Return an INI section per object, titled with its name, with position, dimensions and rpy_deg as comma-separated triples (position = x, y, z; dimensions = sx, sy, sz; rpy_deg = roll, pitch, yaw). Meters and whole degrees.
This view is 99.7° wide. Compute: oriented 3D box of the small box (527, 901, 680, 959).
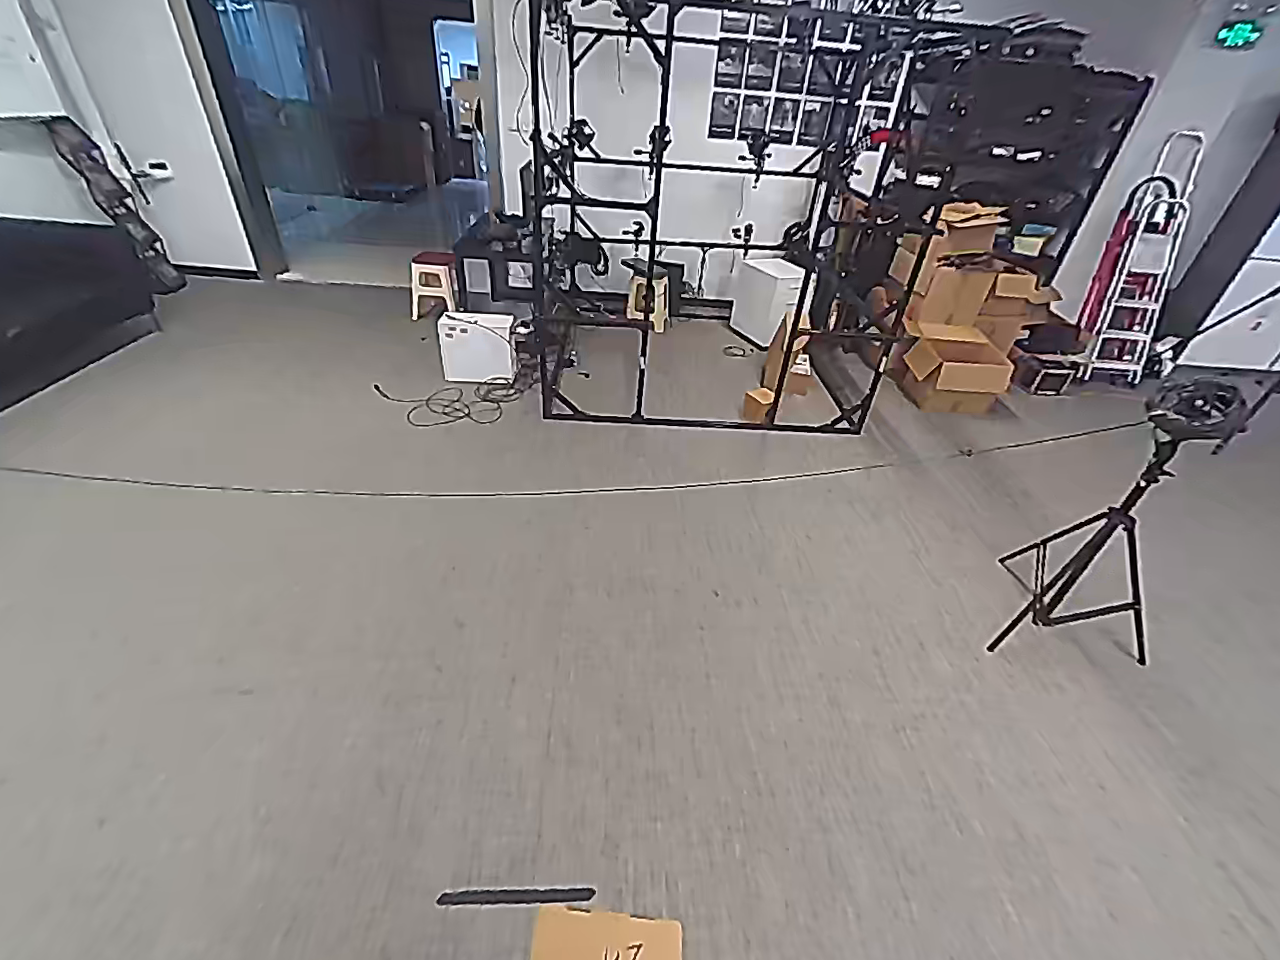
[small box]
position = -0.052, 0.601, 0.592
dimensions = 0.168, 0.176, 0.179
rpy_deg = 9, 37, -2
